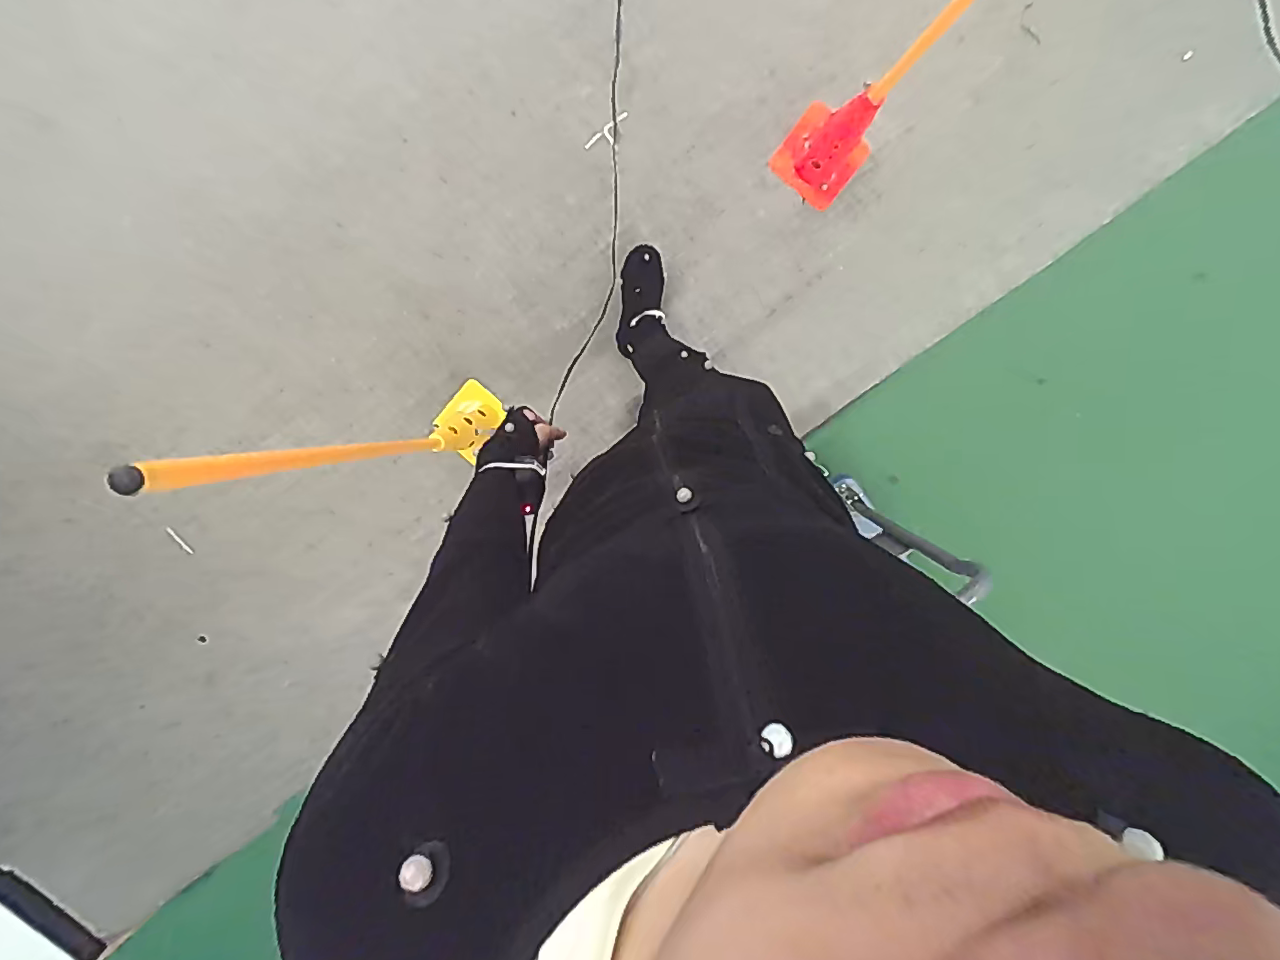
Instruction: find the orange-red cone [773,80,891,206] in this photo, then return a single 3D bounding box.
[{"bbox_3d":[0.479,-0.818,1.249,0.198,0.360,0.199,38,99,-9],"label":"orange-red cone"}]
